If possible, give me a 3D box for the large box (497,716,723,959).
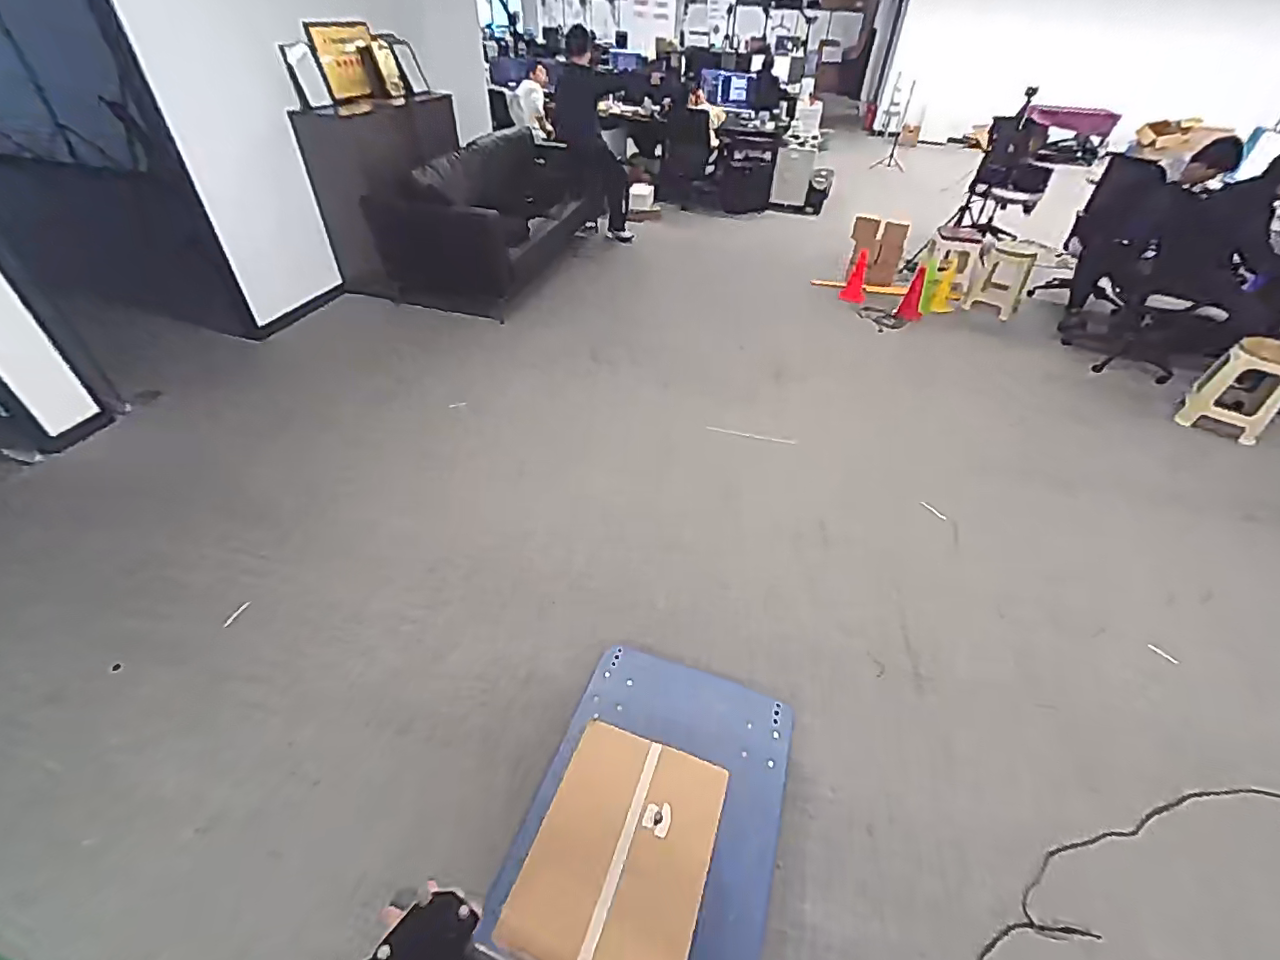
[{"bbox_3d":[-0.040,0.786,1.102,0.320,0.320,0.408,16,40,14],"label":"large box"}]
